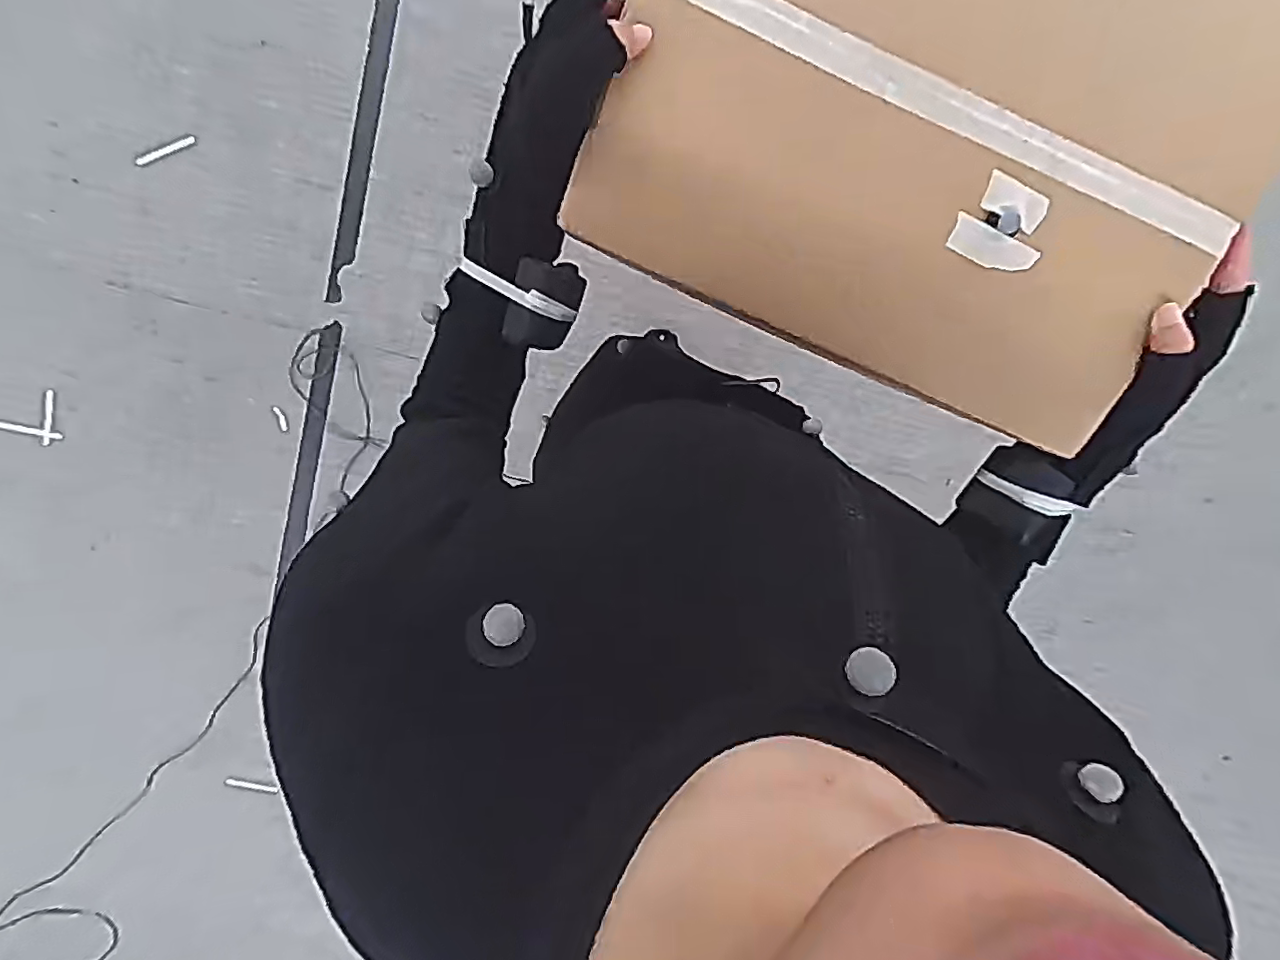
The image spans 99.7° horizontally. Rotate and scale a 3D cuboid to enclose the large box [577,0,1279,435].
[{"bbox_3d":[0.199,-0.287,0.485,0.408,0.320,0.320,24,110,-5],"label":"large box"}]
